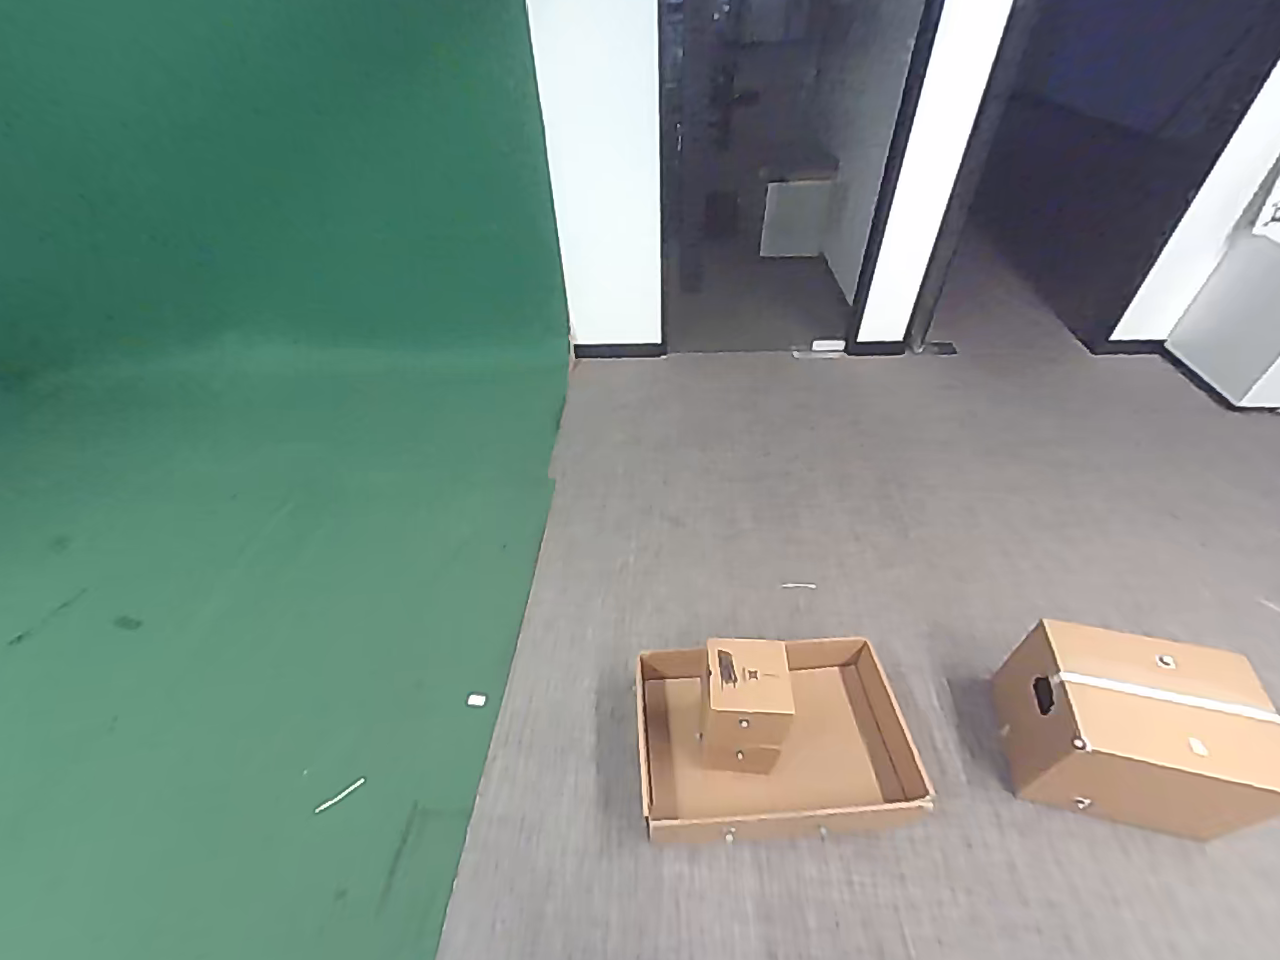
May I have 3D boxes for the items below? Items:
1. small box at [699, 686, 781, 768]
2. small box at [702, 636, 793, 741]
[{"bbox_3d":[0.236,0.590,1.326,0.179,0.176,0.168,3,44,2],"label":"small box"},{"bbox_3d":[0.231,0.470,1.214,0.179,0.176,0.168,2,44,2],"label":"small box"}]
